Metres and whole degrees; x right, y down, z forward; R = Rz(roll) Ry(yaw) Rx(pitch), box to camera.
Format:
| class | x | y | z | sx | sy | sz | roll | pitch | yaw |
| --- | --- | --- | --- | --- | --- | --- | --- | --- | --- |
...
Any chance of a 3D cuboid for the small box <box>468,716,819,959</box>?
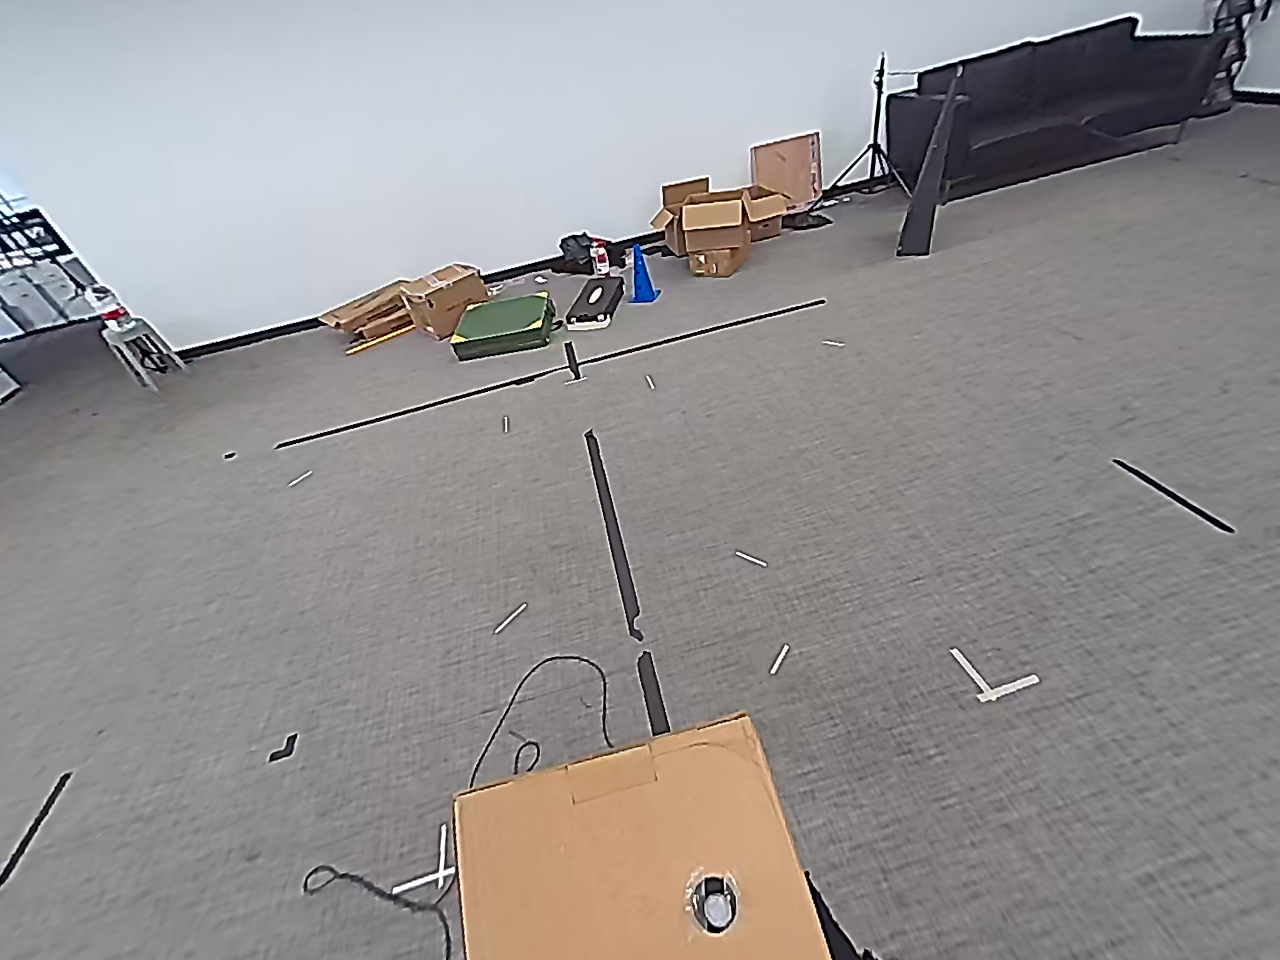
| class | x | y | z | sx | sy | sz | roll | pitch | yaw |
| --- | --- | --- | --- | --- | --- | --- | --- | --- | --- |
| small box | 0.003 | 0.264 | 0.345 | 0.168 | 0.179 | 0.176 | -12 | 65 | -7 |
